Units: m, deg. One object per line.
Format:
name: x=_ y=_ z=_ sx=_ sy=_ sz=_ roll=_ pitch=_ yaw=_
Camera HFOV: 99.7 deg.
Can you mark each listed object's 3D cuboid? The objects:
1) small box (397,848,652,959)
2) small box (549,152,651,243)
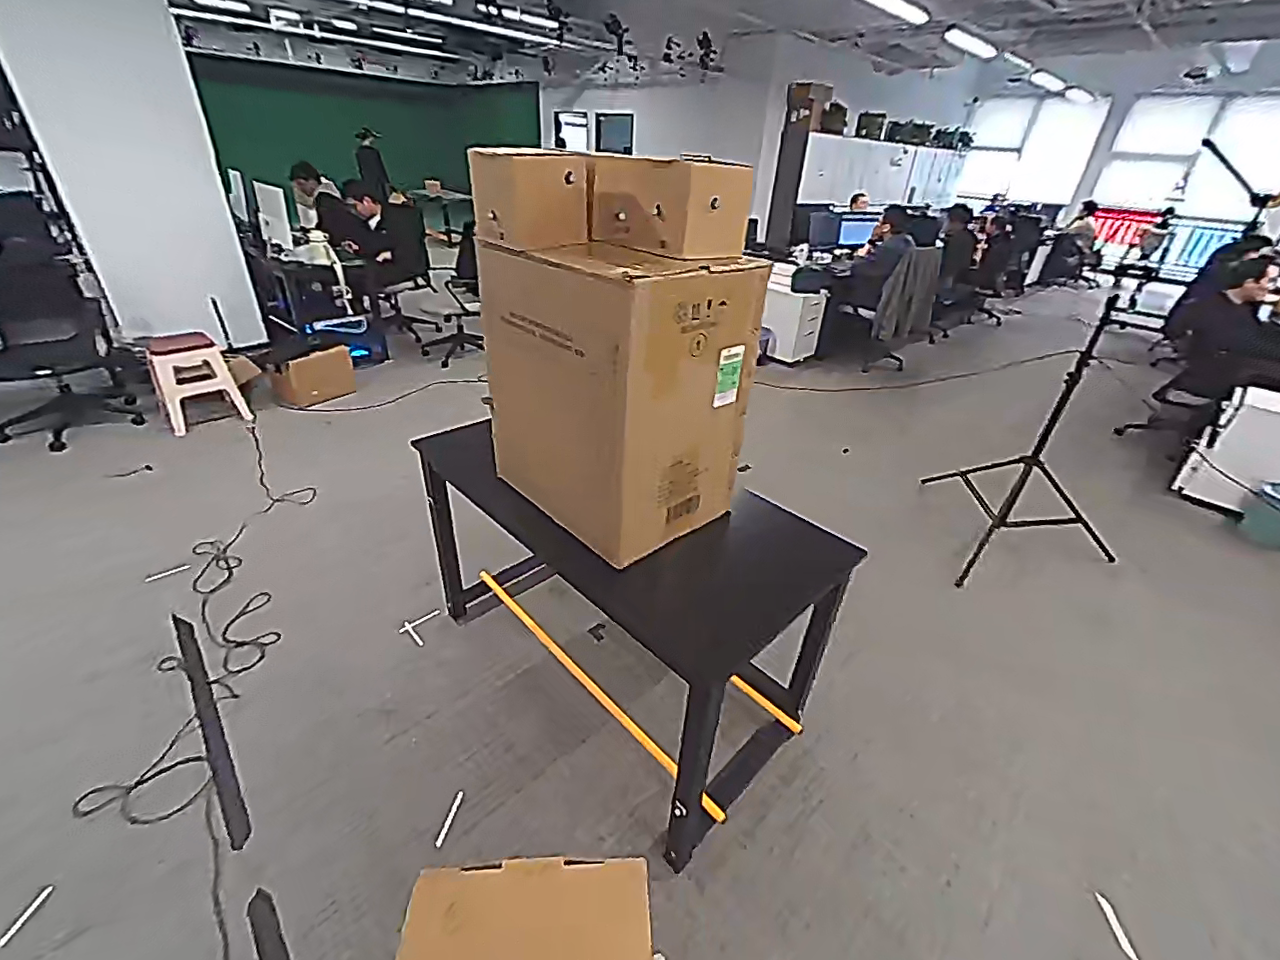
small box: x=-0.076 y=0.388 z=0.372 sx=0.168 sy=0.176 sz=0.179 roll=0 pitch=37 yaw=-4
small box: x=-0.098 y=-0.651 z=1.251 sx=0.168 sy=0.176 sz=0.179 roll=-23 pitch=41 yaw=-38
